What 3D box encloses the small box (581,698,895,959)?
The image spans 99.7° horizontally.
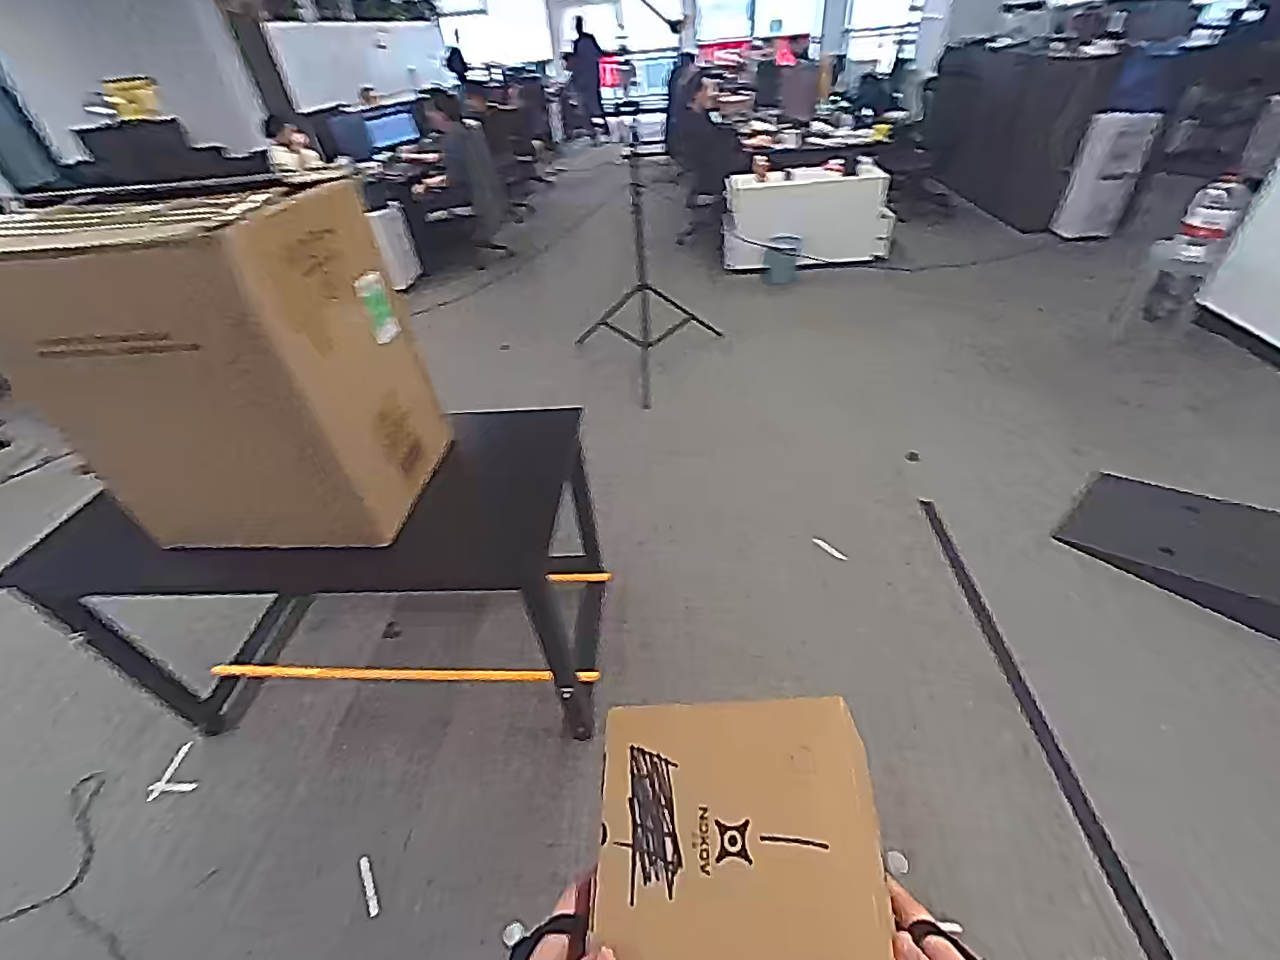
[{"bbox_3d":[0.077,0.271,0.398,0.179,0.176,0.168,-12,51,19],"label":"small box"}]
